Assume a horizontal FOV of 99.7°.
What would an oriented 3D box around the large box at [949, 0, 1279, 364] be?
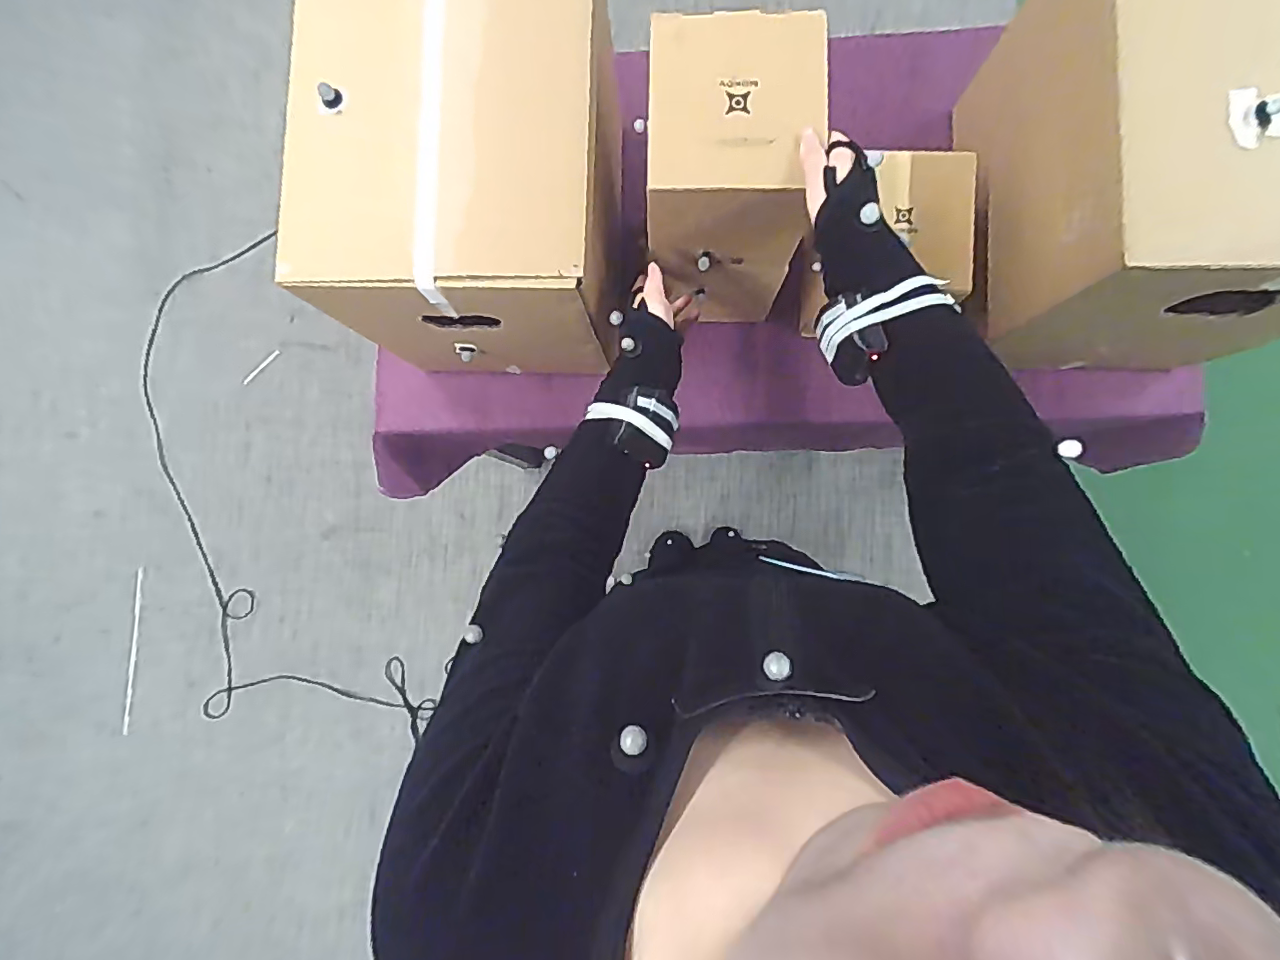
[{"bbox_3d":[0.606,-0.380,0.651,0.320,0.320,0.408,2,86,4],"label":"large box"}]
